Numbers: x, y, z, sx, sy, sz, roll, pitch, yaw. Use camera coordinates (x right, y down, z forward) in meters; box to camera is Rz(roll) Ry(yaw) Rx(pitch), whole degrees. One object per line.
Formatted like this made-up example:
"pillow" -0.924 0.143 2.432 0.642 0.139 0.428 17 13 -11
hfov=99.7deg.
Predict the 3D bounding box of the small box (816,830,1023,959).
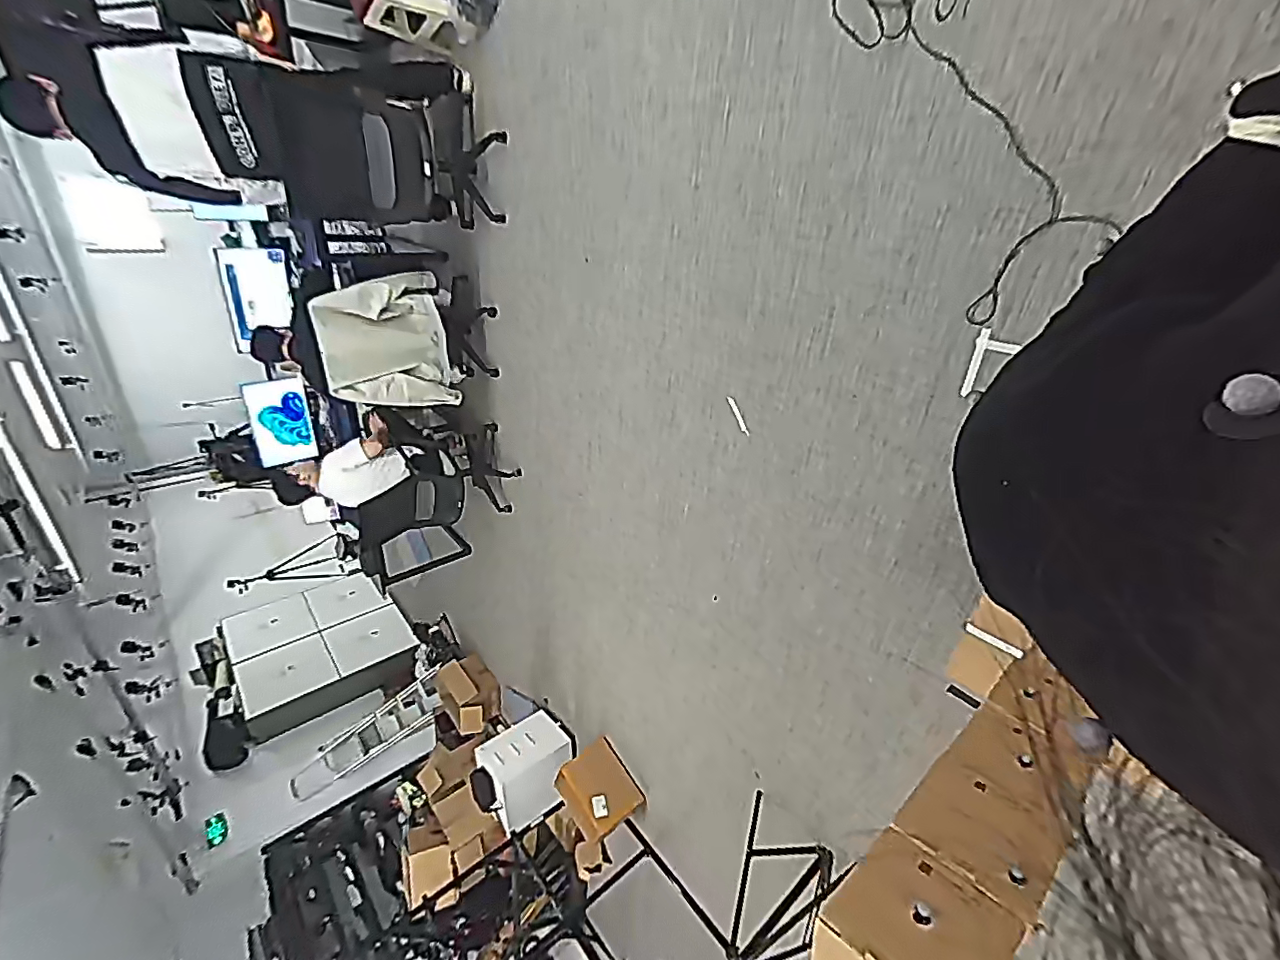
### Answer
"small box" 0.330 0.578 0.650 0.168 0.176 0.179 20 119 47

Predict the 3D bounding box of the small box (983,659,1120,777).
"small box" 0.701 0.451 0.949 0.168 0.176 0.179 29 127 43

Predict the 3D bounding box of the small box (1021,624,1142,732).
"small box" 0.826 0.416 1.046 0.168 0.176 0.179 29 126 41

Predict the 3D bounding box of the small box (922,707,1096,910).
"small box" 0.579 0.498 0.849 0.168 0.176 0.179 24 123 45
